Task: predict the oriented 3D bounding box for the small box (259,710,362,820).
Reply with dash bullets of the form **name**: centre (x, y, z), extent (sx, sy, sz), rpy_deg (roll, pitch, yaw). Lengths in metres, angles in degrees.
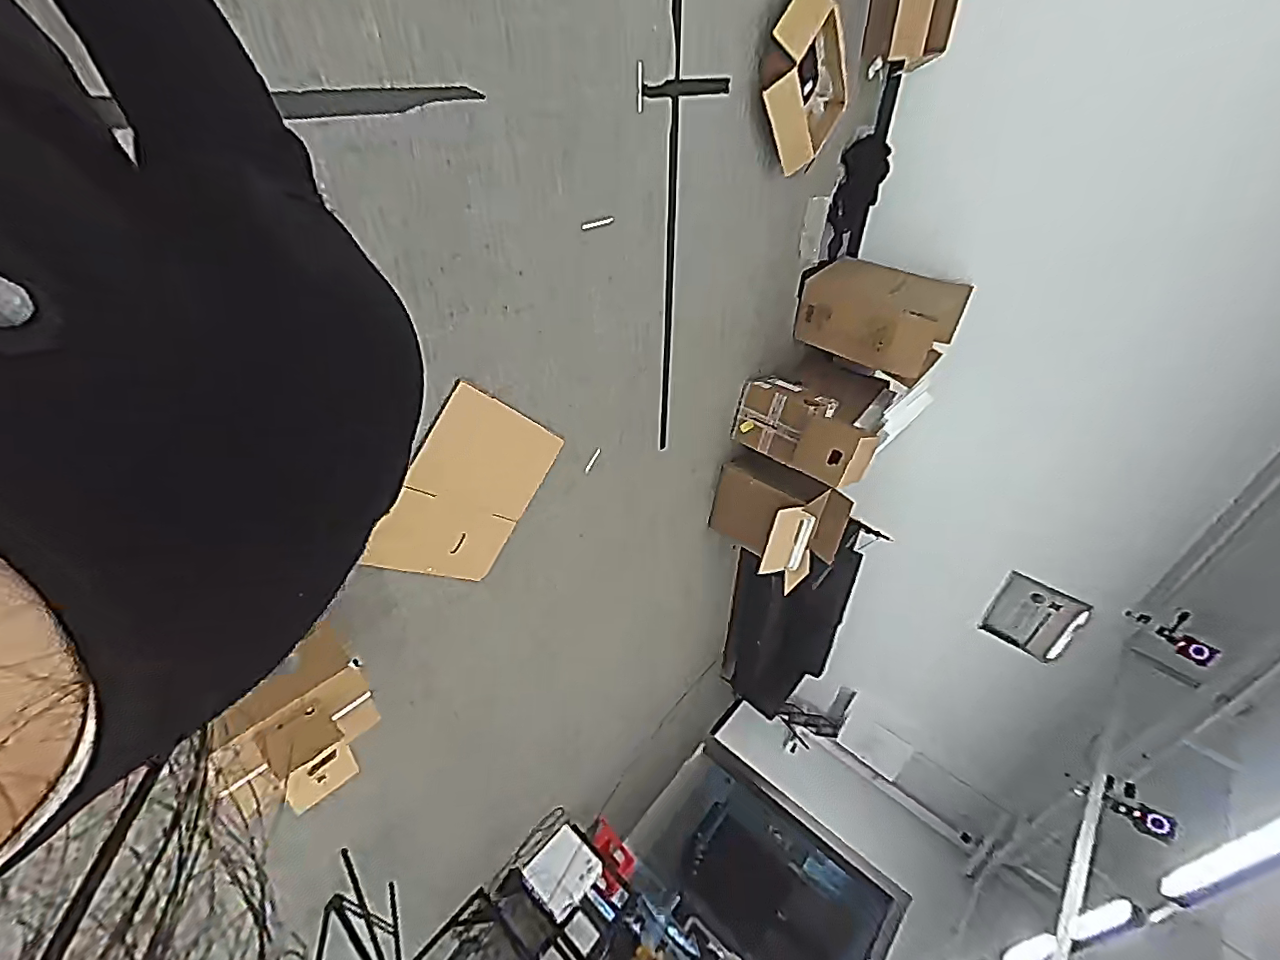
- **small box**: centre (-0.888, 0.755, 1.457), extent (0.168, 0.176, 0.179), rpy_deg (-30, 137, -40)
